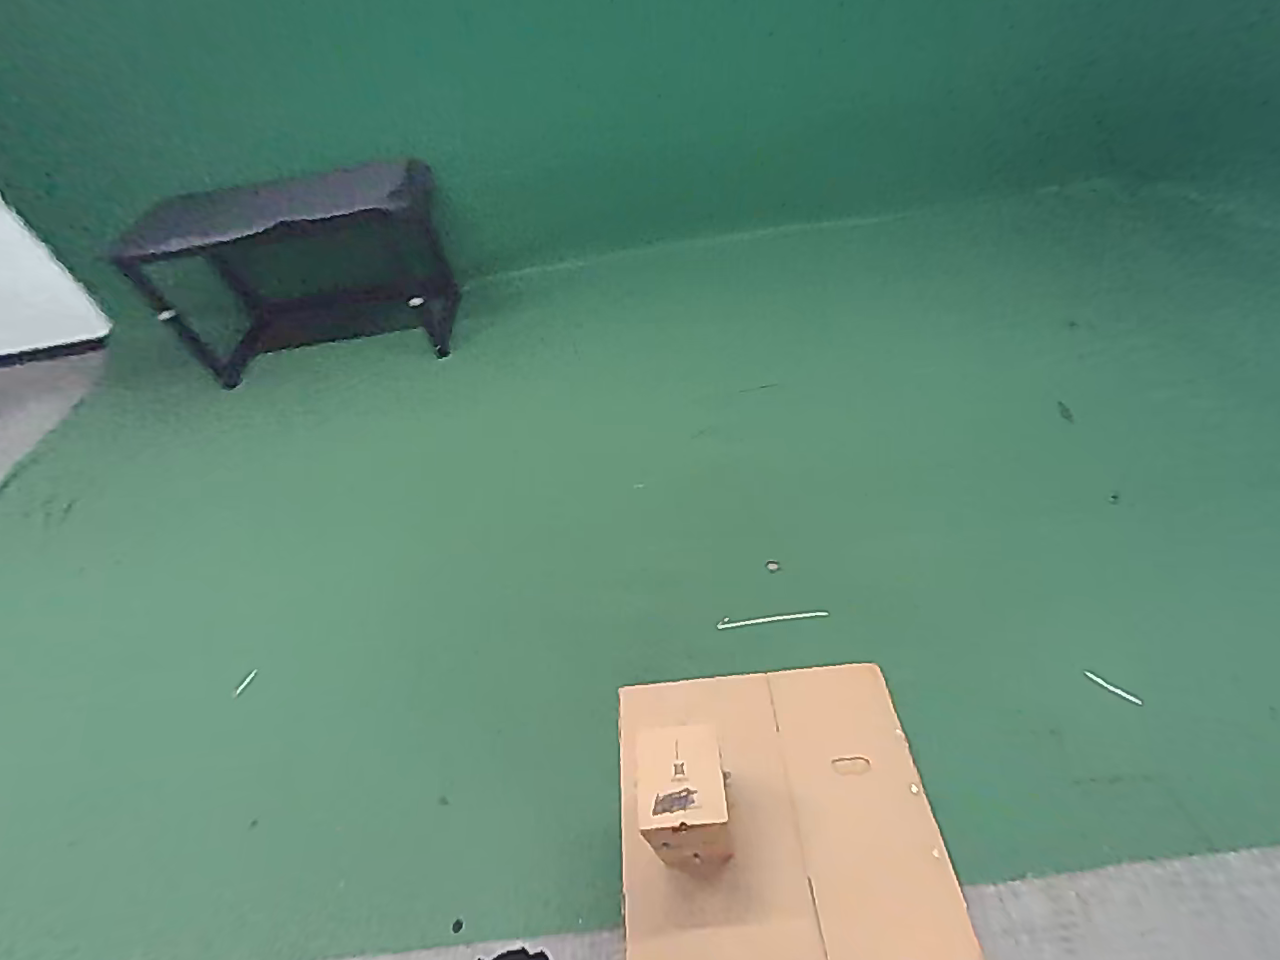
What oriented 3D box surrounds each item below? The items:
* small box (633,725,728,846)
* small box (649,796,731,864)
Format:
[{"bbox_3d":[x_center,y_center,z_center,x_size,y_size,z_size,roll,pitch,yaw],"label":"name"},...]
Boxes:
[{"bbox_3d":[0.081,0.611,1.074,0.168,0.176,0.179,-7,46,4],"label":"small box"},{"bbox_3d":[0.106,0.722,1.192,0.168,0.176,0.179,-9,47,4],"label":"small box"}]
